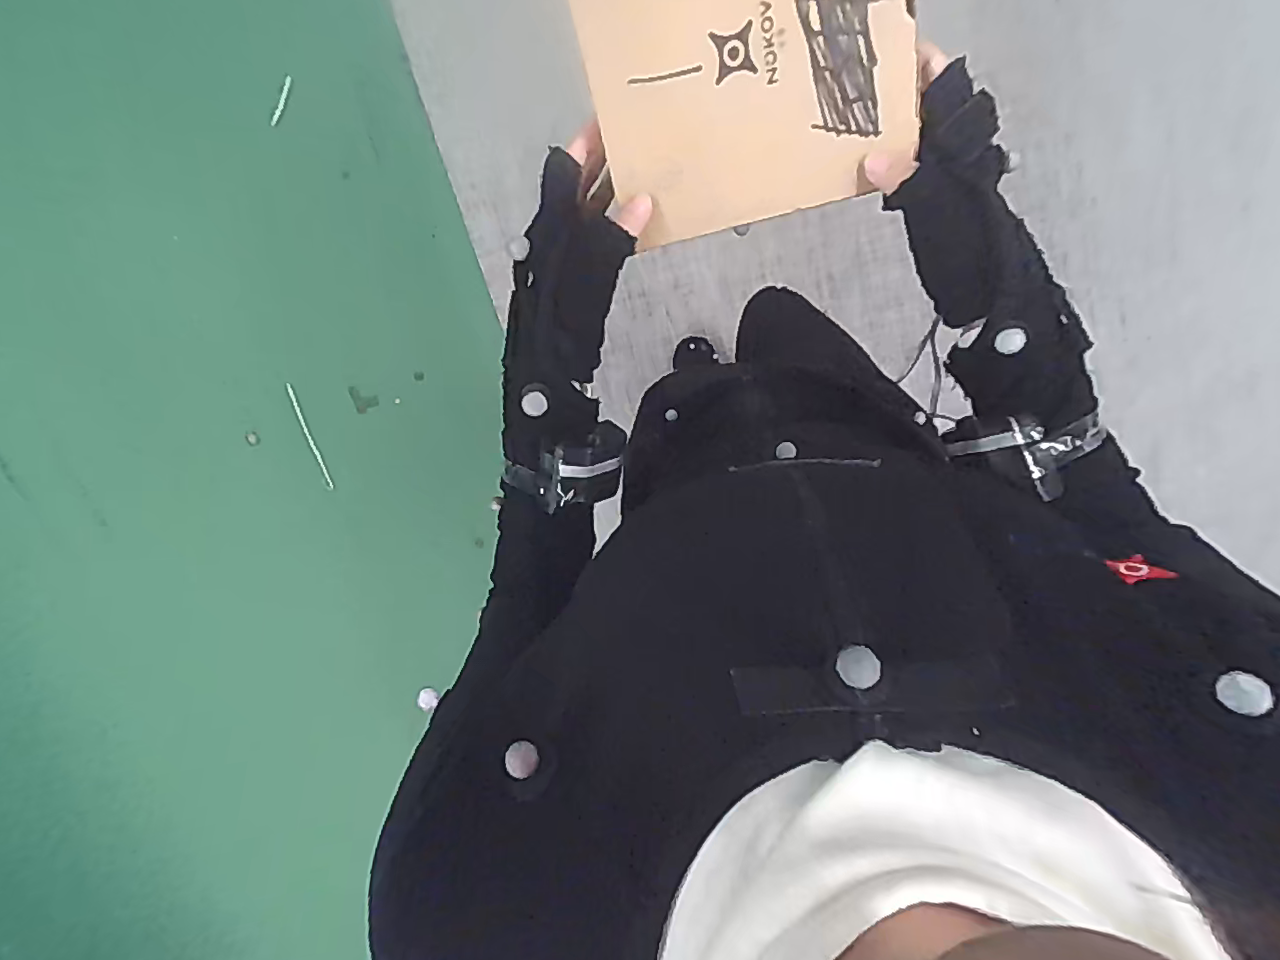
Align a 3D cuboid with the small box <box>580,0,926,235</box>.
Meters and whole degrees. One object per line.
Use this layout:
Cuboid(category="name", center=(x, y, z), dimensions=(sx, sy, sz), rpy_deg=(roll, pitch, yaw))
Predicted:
Cuboid(category="small box", center=(0.063, -0.277, 0.352), dimensions=(0.179, 0.176, 0.168), rpy_deg=(-10, 120, 9))
